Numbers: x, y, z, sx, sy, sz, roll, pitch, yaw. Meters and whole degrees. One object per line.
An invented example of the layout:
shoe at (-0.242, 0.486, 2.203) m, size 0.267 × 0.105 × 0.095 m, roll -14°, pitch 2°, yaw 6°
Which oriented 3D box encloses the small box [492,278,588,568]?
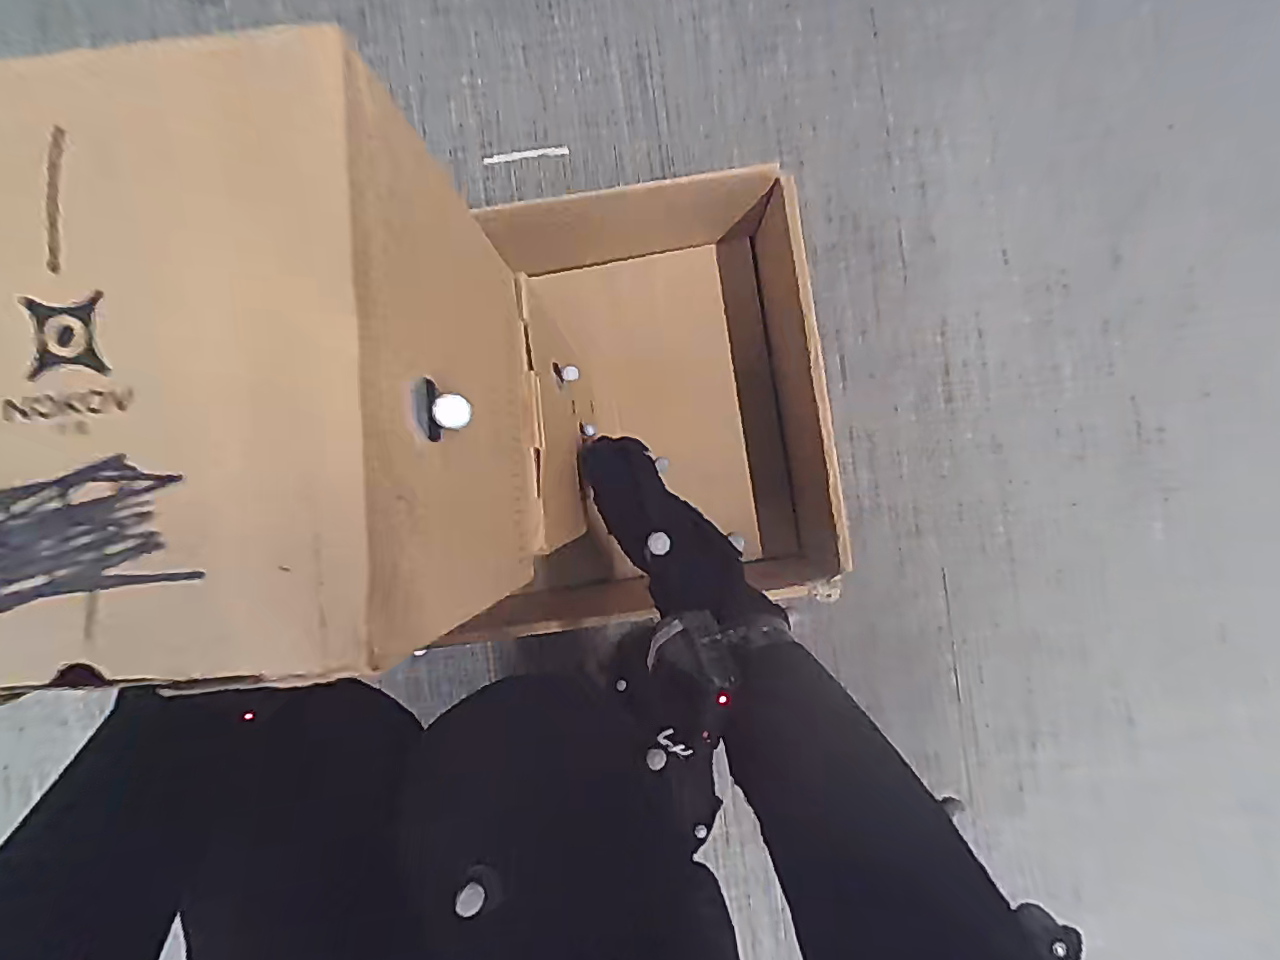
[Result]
small box at (-0.137, -0.021, 0.384) m, size 0.179 × 0.176 × 0.168 m, roll -10°, pitch 89°, yaw 3°

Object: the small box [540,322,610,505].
small box at (-0.136, -0.044, 0.564) m, size 0.179 × 0.176 × 0.168 m, roll -10°, pitch 87°, yaw 2°

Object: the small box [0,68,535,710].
small box at (-0.148, -0.021, 0.234) m, size 0.168 × 0.176 × 0.179 m, roll -5°, pitch 87°, yaw 3°
